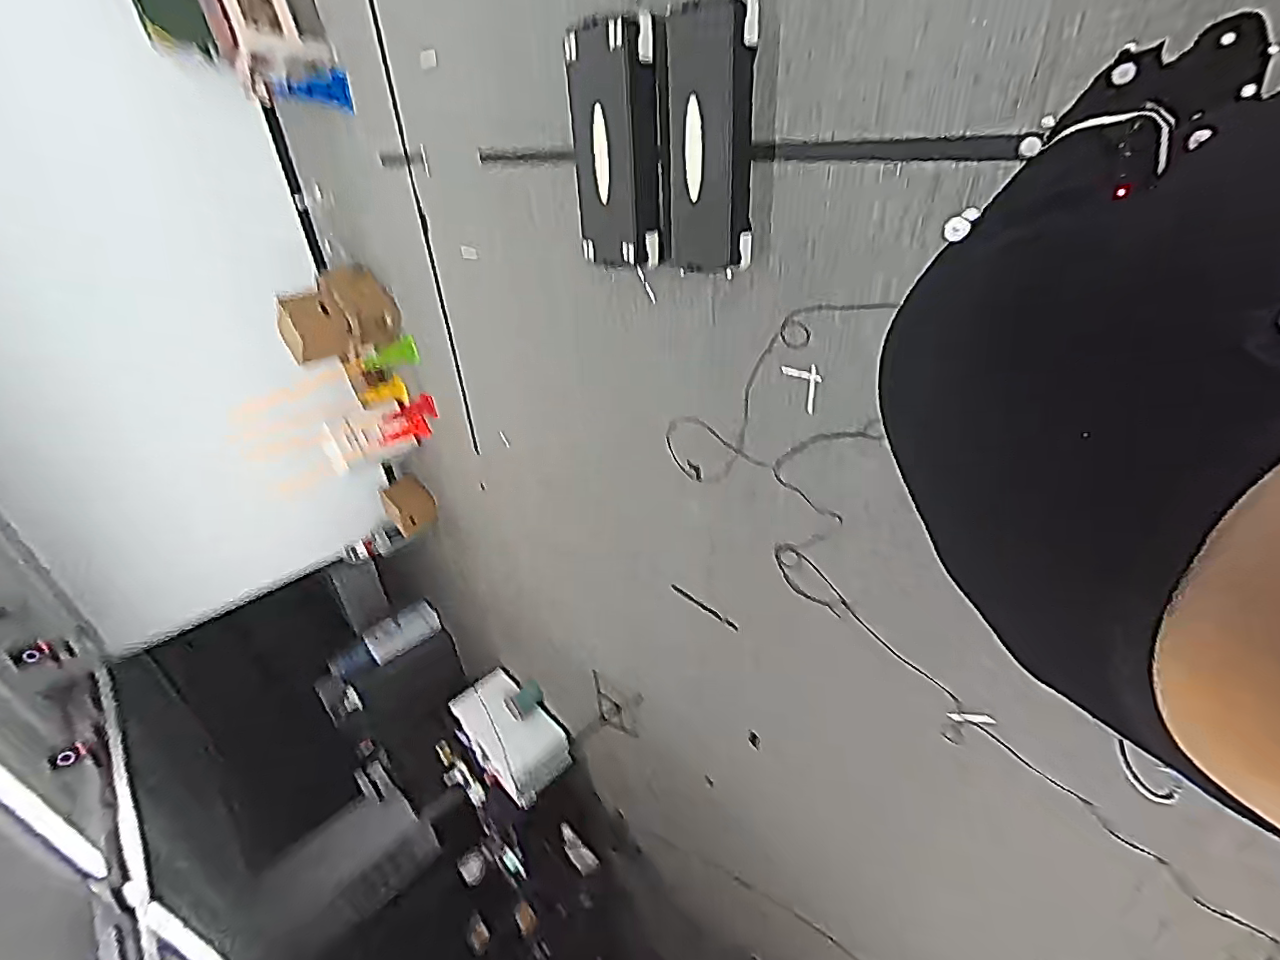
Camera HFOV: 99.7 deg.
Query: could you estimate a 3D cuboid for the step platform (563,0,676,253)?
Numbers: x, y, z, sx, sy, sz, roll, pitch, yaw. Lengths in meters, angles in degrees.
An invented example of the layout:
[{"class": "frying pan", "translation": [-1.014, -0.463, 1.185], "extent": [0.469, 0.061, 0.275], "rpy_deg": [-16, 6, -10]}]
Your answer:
[{"class": "step platform", "translation": [-0.059, -1.089, 1.711], "extent": [0.286, 0.204, 0.684], "rpy_deg": [24, 130, 39]}]
